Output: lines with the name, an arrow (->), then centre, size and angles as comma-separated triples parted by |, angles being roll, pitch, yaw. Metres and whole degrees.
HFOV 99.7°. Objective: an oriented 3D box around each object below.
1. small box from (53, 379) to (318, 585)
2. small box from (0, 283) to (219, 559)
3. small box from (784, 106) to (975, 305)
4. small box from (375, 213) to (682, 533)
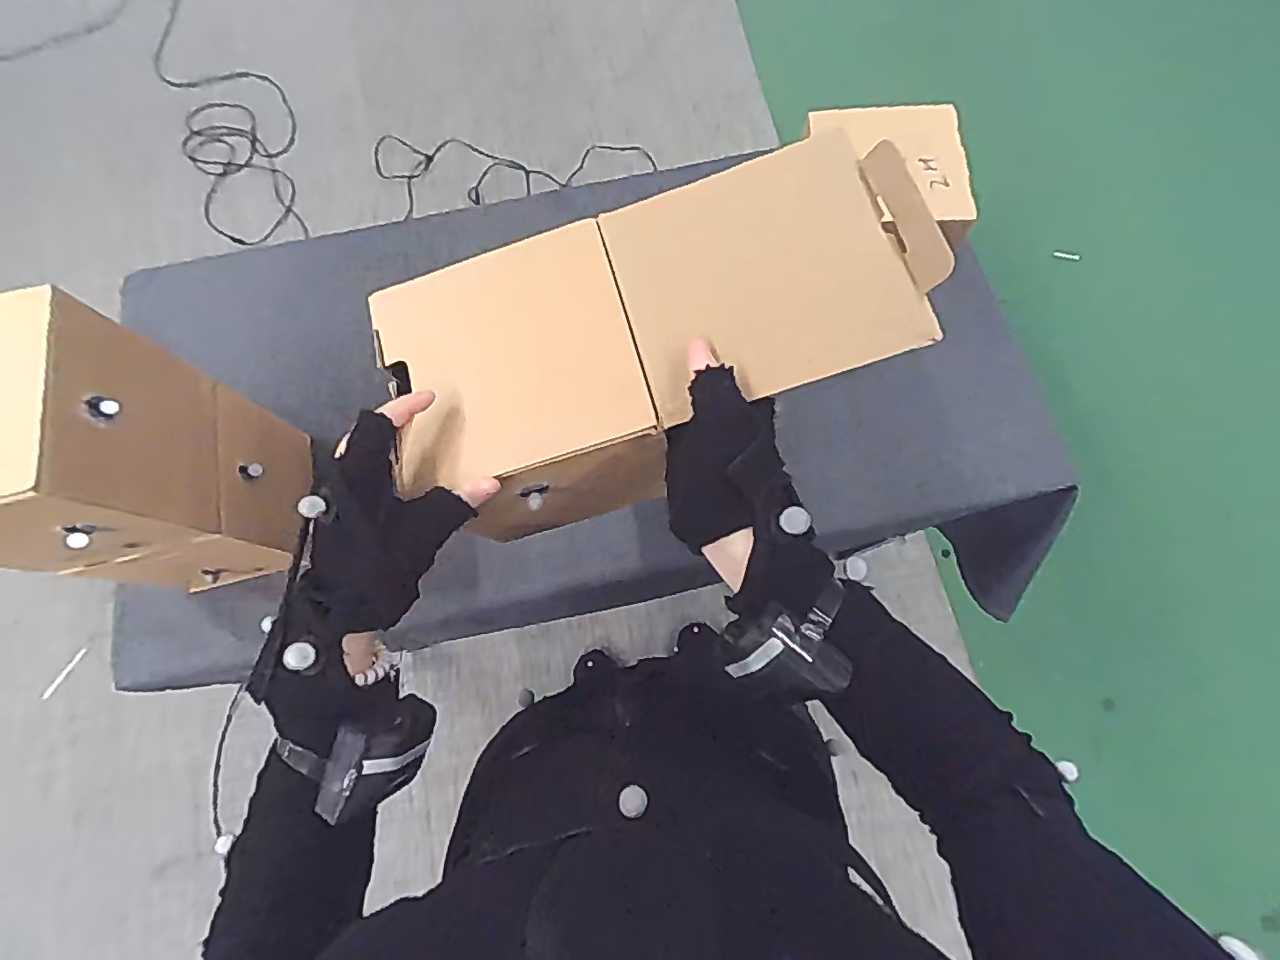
small box -> -0.504, 0.012, 0.626 | 0.168, 0.176, 0.179 | -14, 74, -3
small box -> -0.509, -0.034, 0.470 | 0.168, 0.176, 0.179 | -12, 74, -3
small box -> 0.289, -0.342, 0.699 | 0.179, 0.176, 0.168 | 0, 75, 2
small box -> -0.075, -0.065, 0.432 | 0.179, 0.176, 0.168 | -17, 74, 4
